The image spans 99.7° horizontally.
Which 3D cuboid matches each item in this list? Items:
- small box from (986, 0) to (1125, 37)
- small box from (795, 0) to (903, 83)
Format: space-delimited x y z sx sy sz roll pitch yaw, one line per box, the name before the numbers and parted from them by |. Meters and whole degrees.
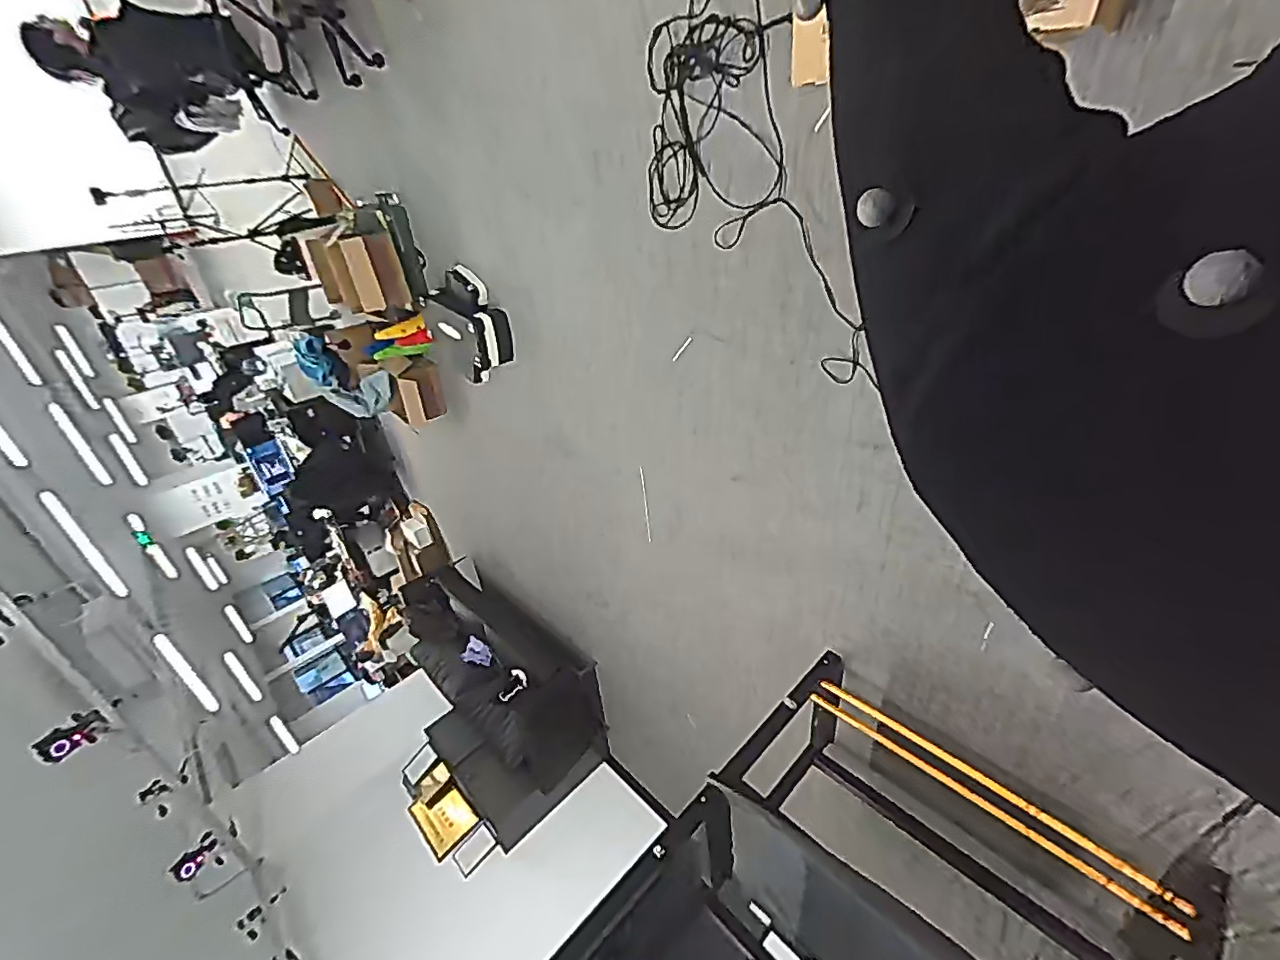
small box | 0.736 -0.880 0.926 0.168 0.176 0.179 29 135 39
small box | 0.463 -0.999 1.197 0.168 0.176 0.179 24 133 42
